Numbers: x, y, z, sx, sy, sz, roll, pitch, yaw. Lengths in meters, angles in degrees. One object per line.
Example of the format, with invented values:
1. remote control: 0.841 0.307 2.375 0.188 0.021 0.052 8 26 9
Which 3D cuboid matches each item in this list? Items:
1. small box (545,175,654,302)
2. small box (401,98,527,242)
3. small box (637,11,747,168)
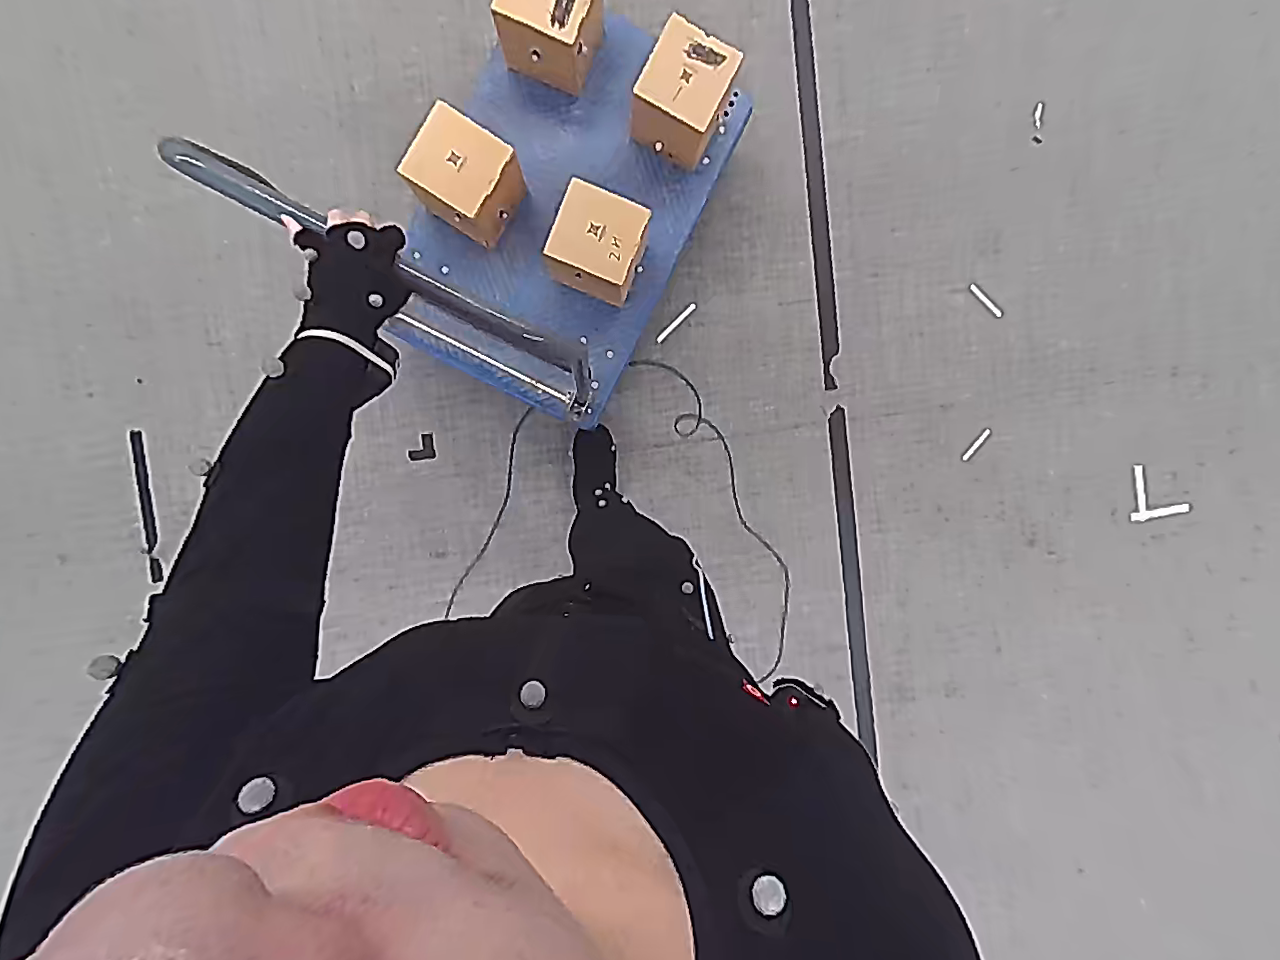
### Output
1. small box: -0.084 -0.507 1.165 0.179 0.176 0.168 22 92 -4
2. small box: -0.361 -0.640 1.145 0.179 0.176 0.168 31 92 -6
3. small box: 0.100 -0.818 1.153 0.168 0.176 0.179 28 93 -4
